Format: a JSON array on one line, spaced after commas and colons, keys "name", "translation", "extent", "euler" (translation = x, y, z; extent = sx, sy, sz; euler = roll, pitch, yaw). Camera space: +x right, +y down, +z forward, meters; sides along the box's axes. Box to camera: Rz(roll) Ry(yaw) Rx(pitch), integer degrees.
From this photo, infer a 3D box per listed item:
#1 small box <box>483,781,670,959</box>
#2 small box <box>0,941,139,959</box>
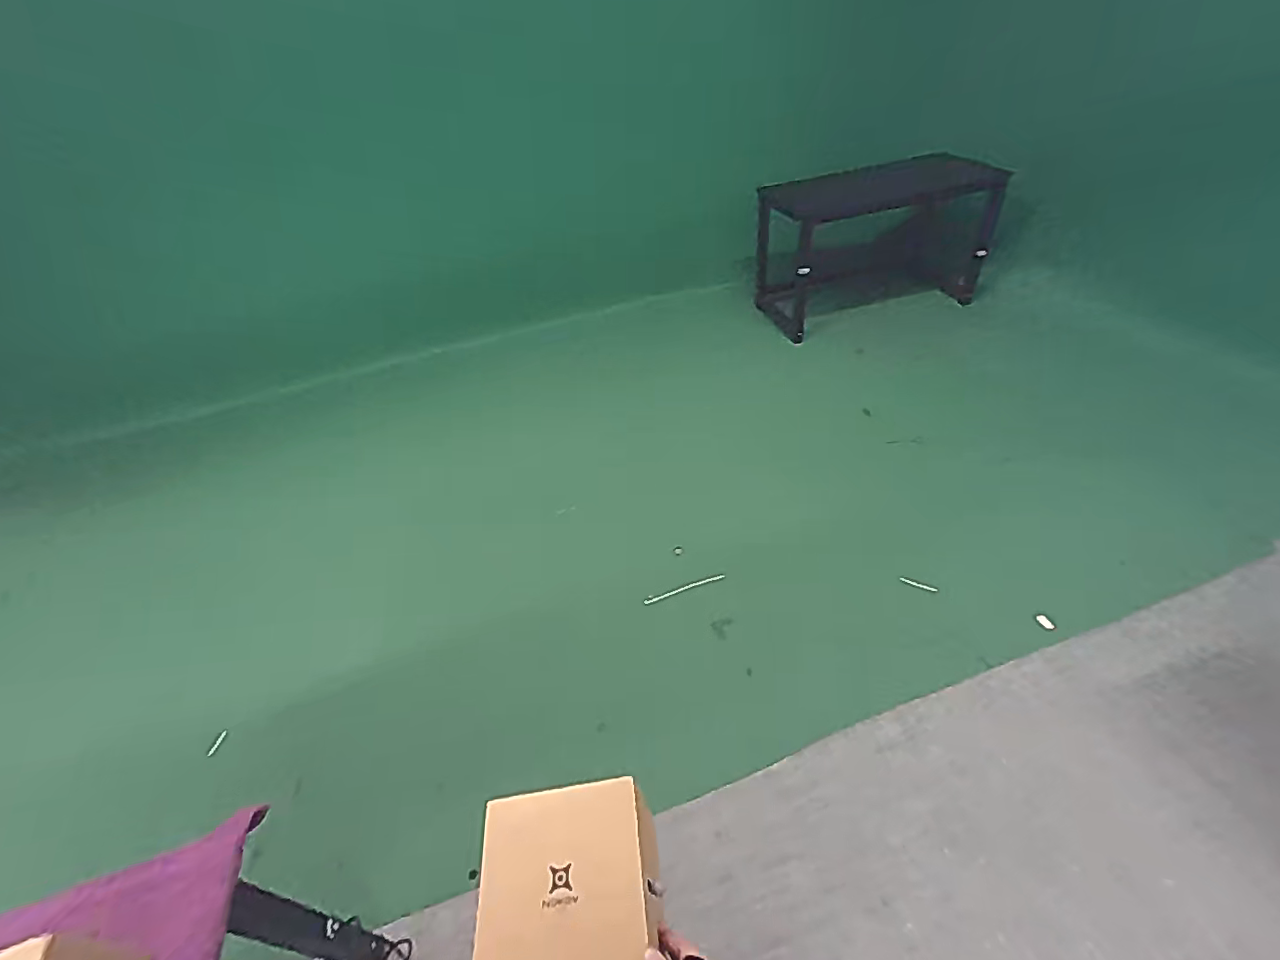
[{"name": "small box", "translation": [-0.060, 0.456, 0.587], "extent": [0.168, 0.176, 0.179], "euler": [-9, 45, 0]}, {"name": "small box", "translation": [-0.741, 0.671, 0.615], "extent": [0.179, 0.176, 0.168], "euler": [-18, 45, -11]}]
